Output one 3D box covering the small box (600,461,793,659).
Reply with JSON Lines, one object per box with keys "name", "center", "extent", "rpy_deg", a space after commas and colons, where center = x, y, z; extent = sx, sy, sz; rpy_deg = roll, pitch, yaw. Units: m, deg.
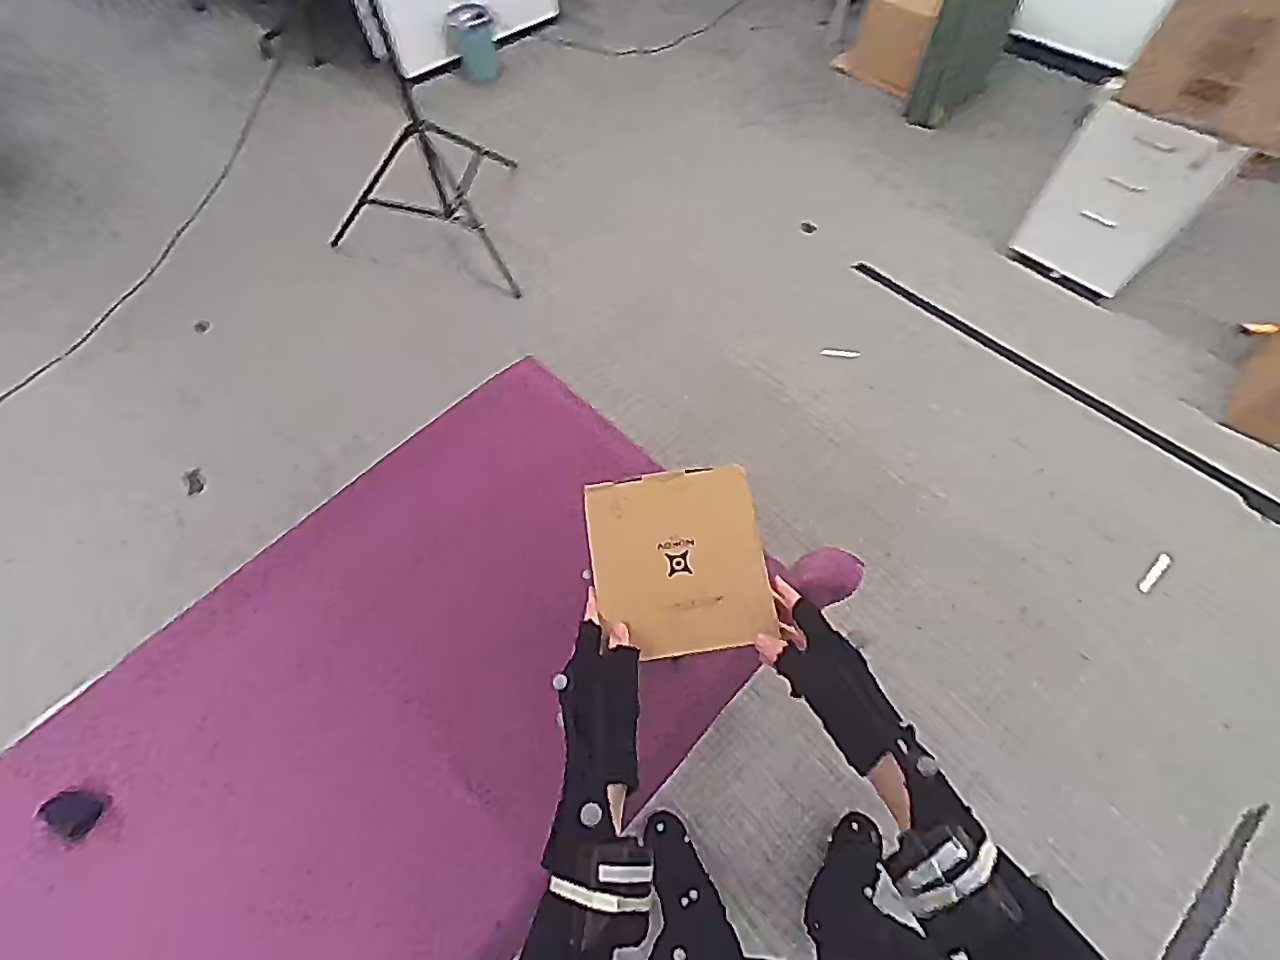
{"name": "small box", "center": [0.052, 0.096, 0.591], "extent": [0.168, 0.176, 0.179], "rpy_deg": [-8, 72, 1]}
